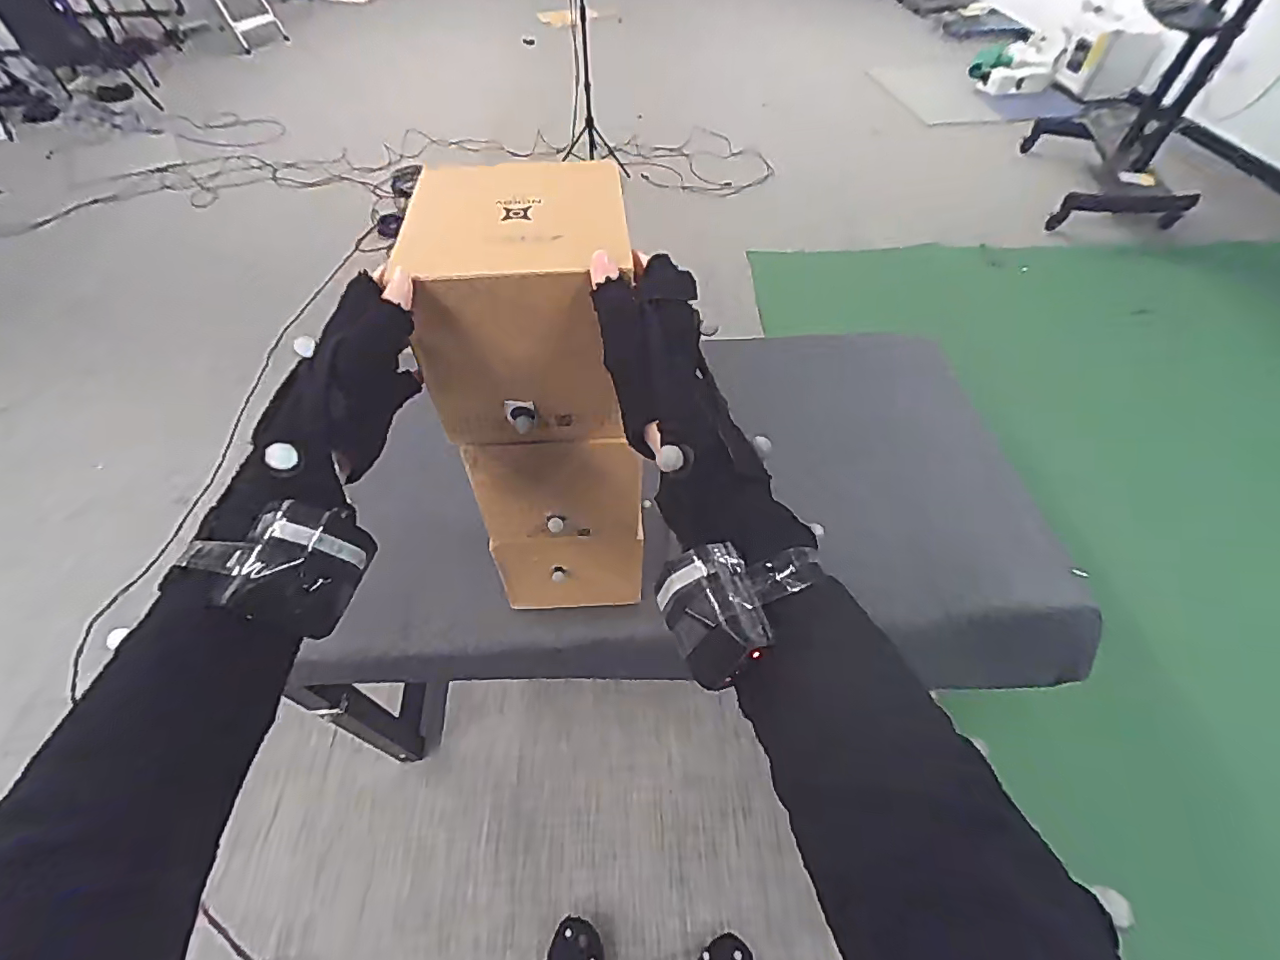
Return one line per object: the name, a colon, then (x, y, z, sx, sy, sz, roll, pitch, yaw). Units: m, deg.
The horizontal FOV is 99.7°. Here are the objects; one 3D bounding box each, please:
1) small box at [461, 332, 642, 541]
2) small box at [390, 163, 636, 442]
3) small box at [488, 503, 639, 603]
small box: (-0.086, -0.050, 0.600, 0.168, 0.176, 0.179, -1, 52, -3)
small box: (-0.092, -0.153, 0.474, 0.168, 0.176, 0.179, -3, 52, -3)
small box: (-0.091, 0.055, 0.727, 0.179, 0.176, 0.168, -1, 52, -3)
